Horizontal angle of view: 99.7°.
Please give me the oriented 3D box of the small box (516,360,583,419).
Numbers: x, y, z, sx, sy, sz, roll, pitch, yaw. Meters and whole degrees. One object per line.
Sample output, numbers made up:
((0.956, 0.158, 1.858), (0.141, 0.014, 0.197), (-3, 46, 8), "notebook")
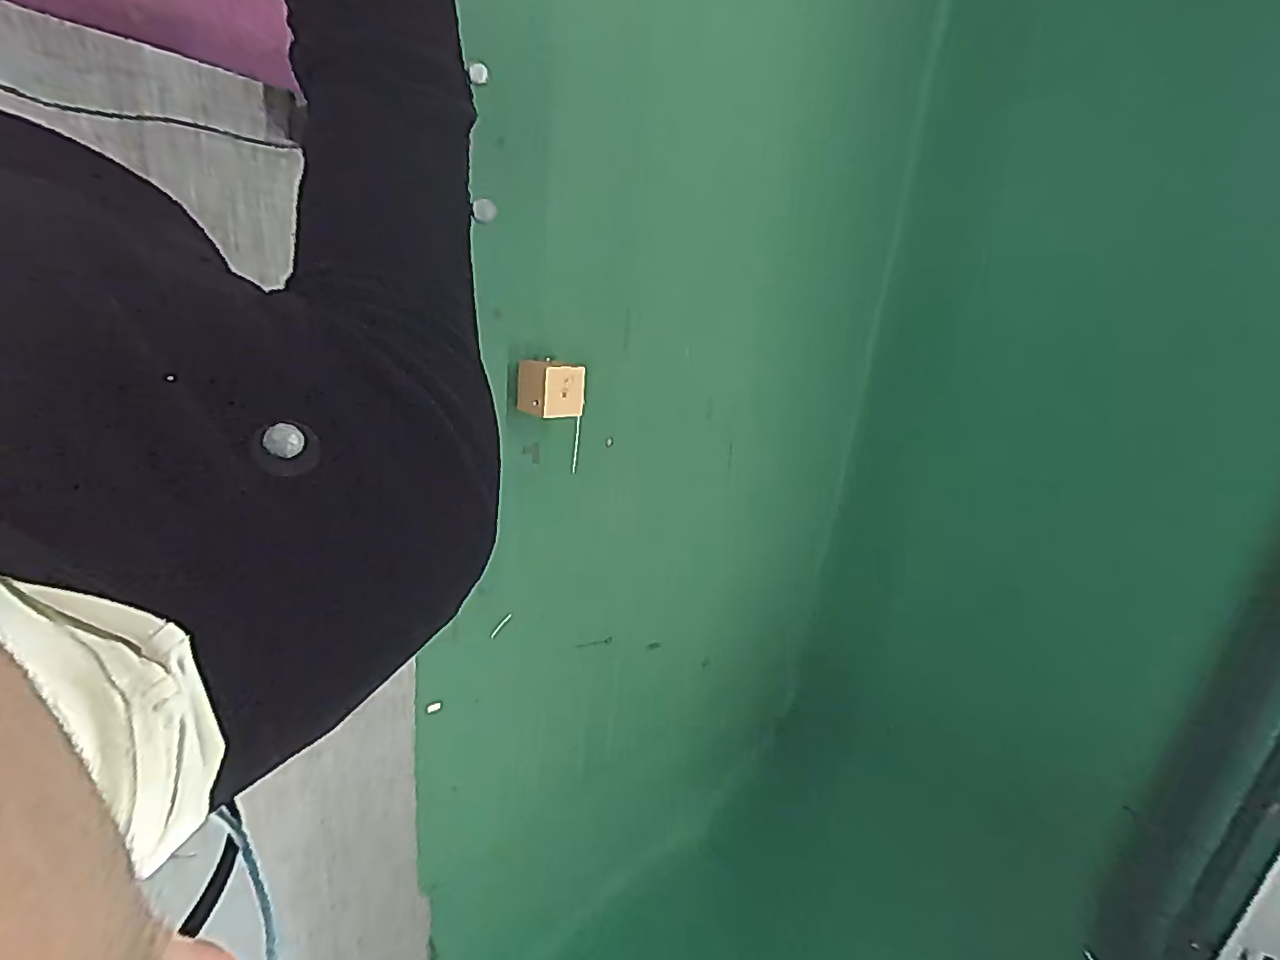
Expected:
((-0.321, -0.317, 1.888), (0.168, 0.176, 0.179), (-10, 113, -44), "small box")
